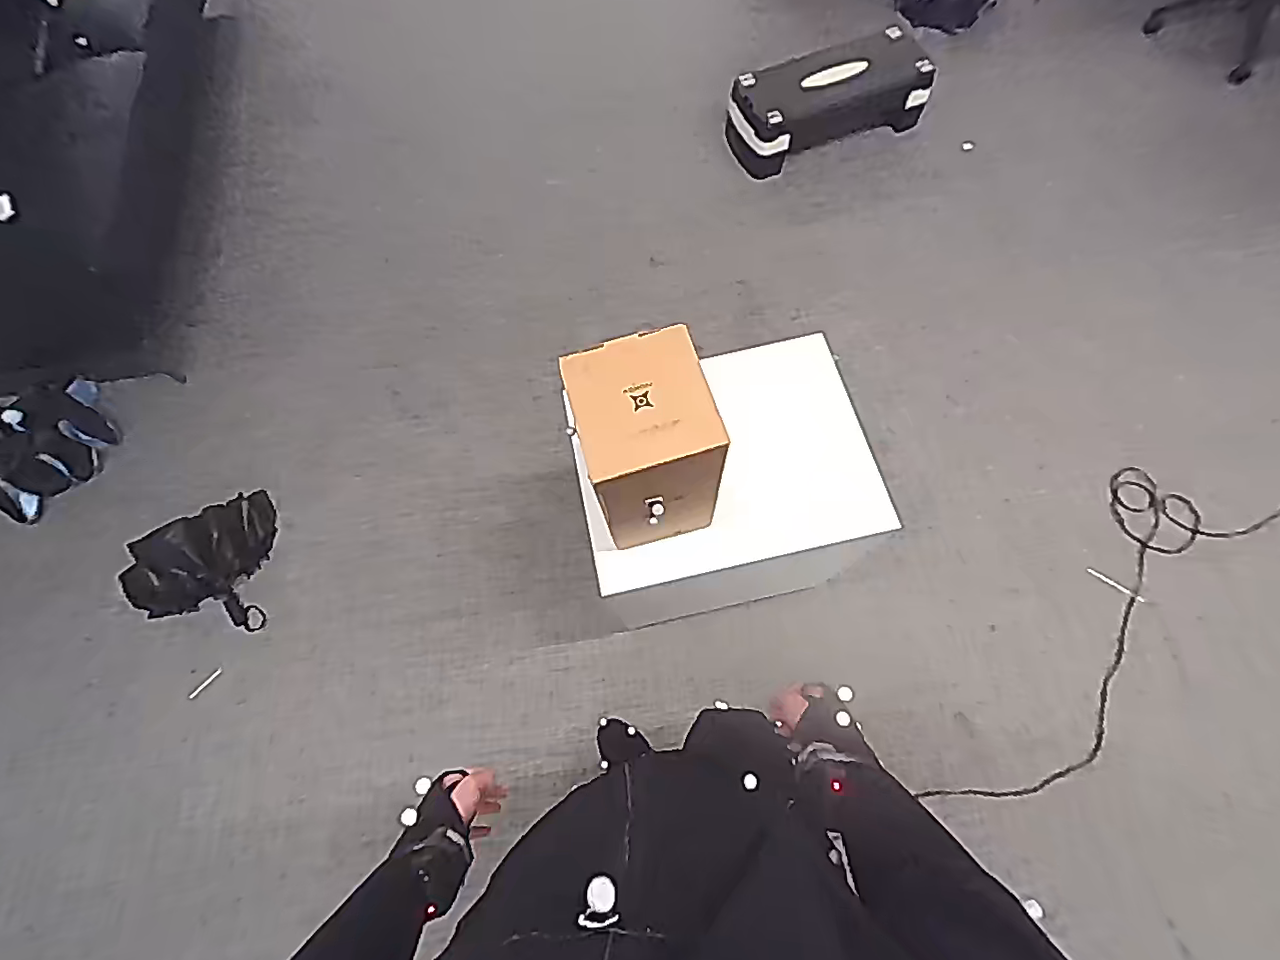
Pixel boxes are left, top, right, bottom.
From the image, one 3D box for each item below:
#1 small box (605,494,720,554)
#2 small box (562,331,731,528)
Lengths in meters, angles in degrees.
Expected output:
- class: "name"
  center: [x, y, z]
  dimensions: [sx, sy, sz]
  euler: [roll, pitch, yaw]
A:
- class: "small box"
  center: [0.020, 0.000, 0.862]
  dimensions: [0.168, 0.176, 0.179]
  euler: [-15, 68, -1]
- class: "small box"
  center: [0.009, -0.058, 0.710]
  dimensions: [0.168, 0.176, 0.179]
  euler: [-17, 69, -2]
